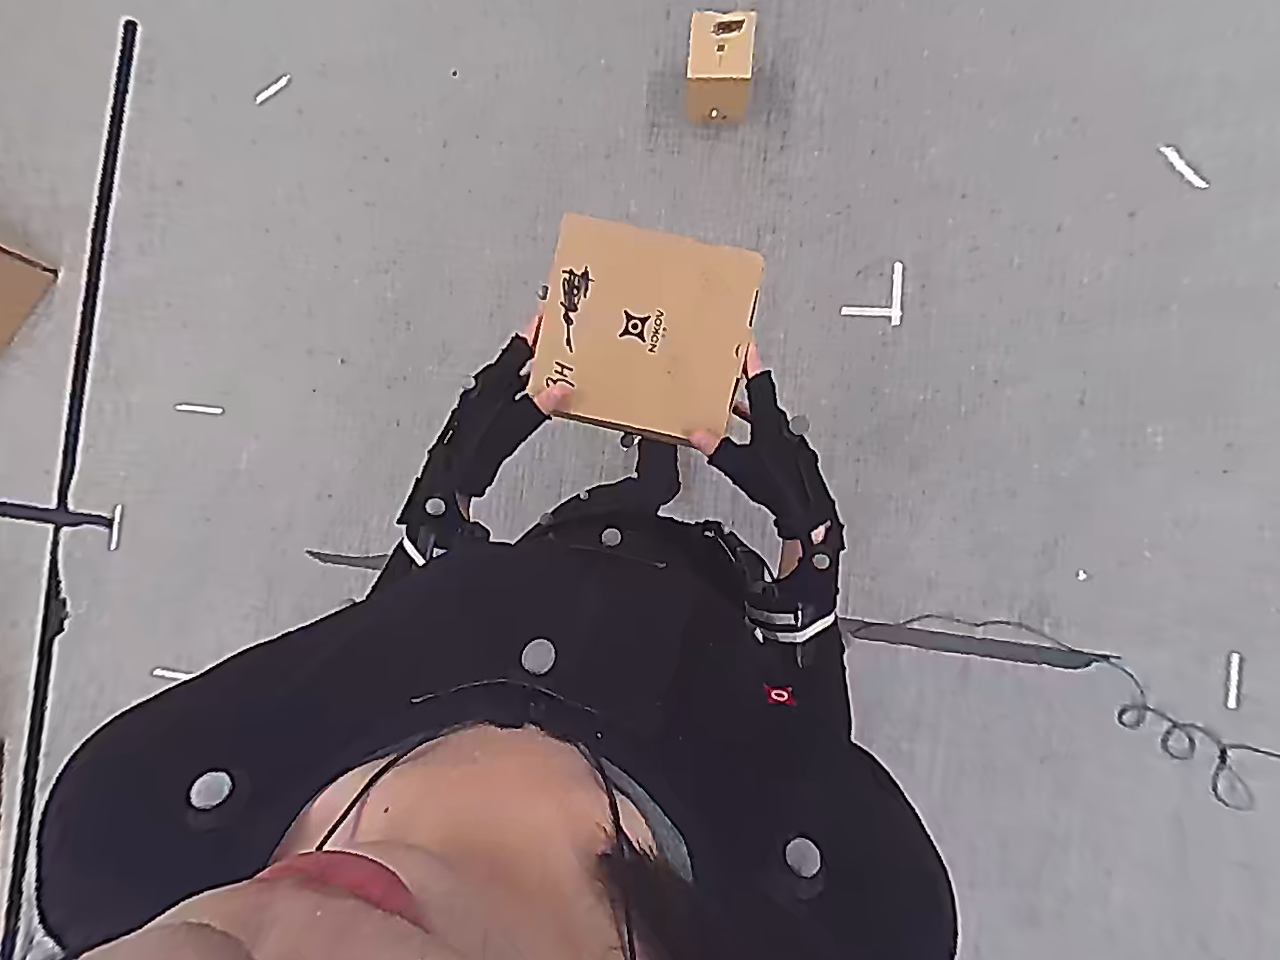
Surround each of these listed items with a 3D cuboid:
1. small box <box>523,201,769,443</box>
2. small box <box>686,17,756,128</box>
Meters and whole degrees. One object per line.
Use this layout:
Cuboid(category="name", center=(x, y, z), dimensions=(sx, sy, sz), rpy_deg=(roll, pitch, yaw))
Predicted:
Cuboid(category="small box", center=(0.004, -0.135, 0.528), dimensions=(0.179, 0.176, 0.168), rpy_deg=(13, 92, -1))
Cuboid(category="small box", center=(0.214, -1.097, 1.463), dimensions=(0.168, 0.176, 0.179), rpy_deg=(5, 89, 6))
